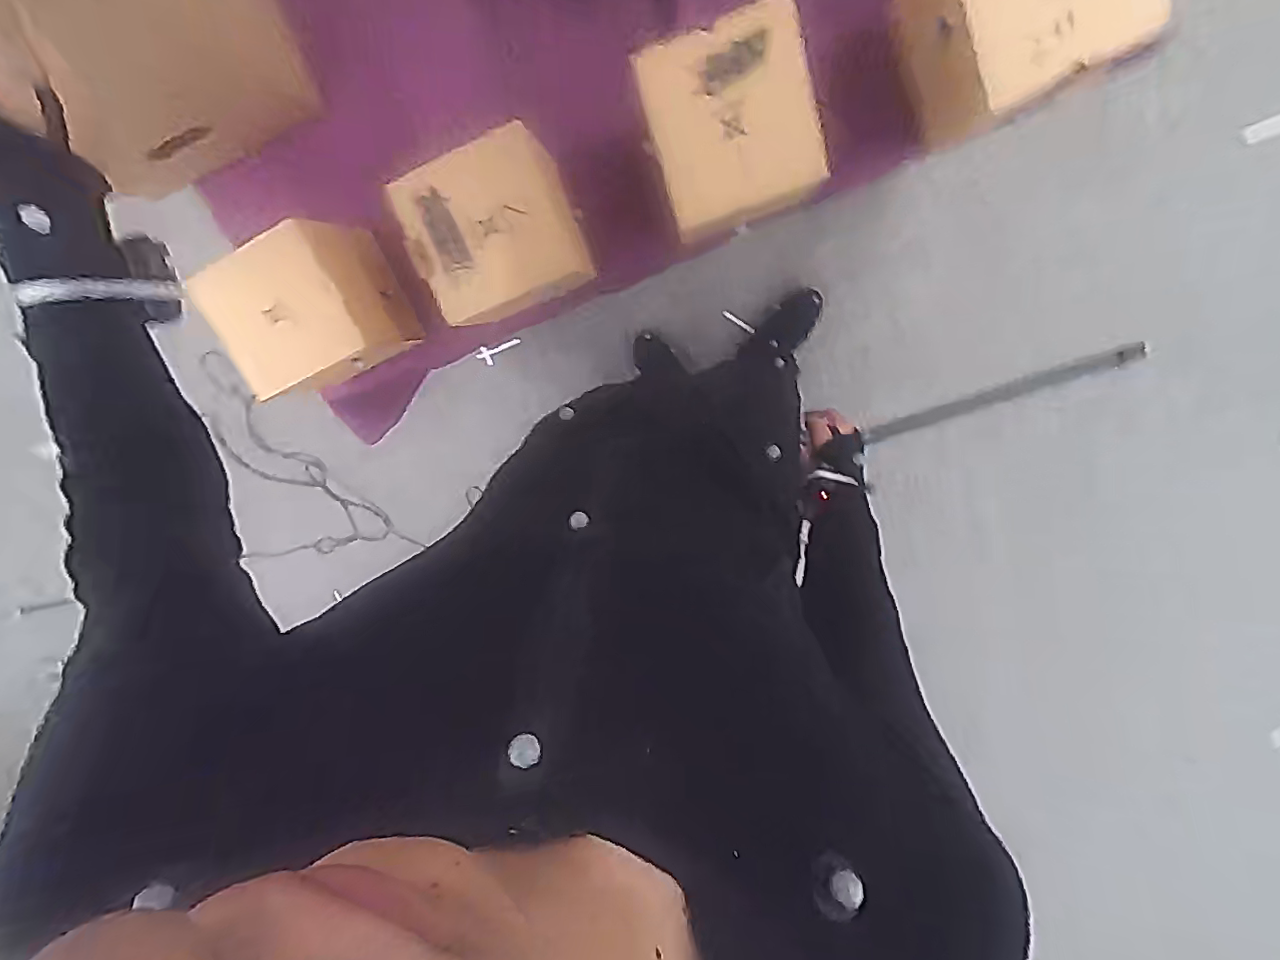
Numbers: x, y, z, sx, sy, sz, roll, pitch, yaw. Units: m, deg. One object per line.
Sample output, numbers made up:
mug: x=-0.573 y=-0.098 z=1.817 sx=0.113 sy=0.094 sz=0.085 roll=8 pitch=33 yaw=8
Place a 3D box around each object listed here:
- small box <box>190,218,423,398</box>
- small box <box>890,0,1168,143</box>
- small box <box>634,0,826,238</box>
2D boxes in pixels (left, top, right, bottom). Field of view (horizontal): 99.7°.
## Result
small box: x=-0.442 y=-0.231 z=0.747 sx=0.179 sy=0.176 sz=0.168 roll=-23 pitch=105 yaw=11
small box: x=0.393 y=-0.503 z=0.576 sx=0.168 sy=0.176 sz=0.179 roll=-22 pitch=106 yaw=13
small box: x=0.101 y=-0.406 z=0.637 sx=0.168 sy=0.176 sz=0.179 roll=-17 pitch=107 yaw=11
